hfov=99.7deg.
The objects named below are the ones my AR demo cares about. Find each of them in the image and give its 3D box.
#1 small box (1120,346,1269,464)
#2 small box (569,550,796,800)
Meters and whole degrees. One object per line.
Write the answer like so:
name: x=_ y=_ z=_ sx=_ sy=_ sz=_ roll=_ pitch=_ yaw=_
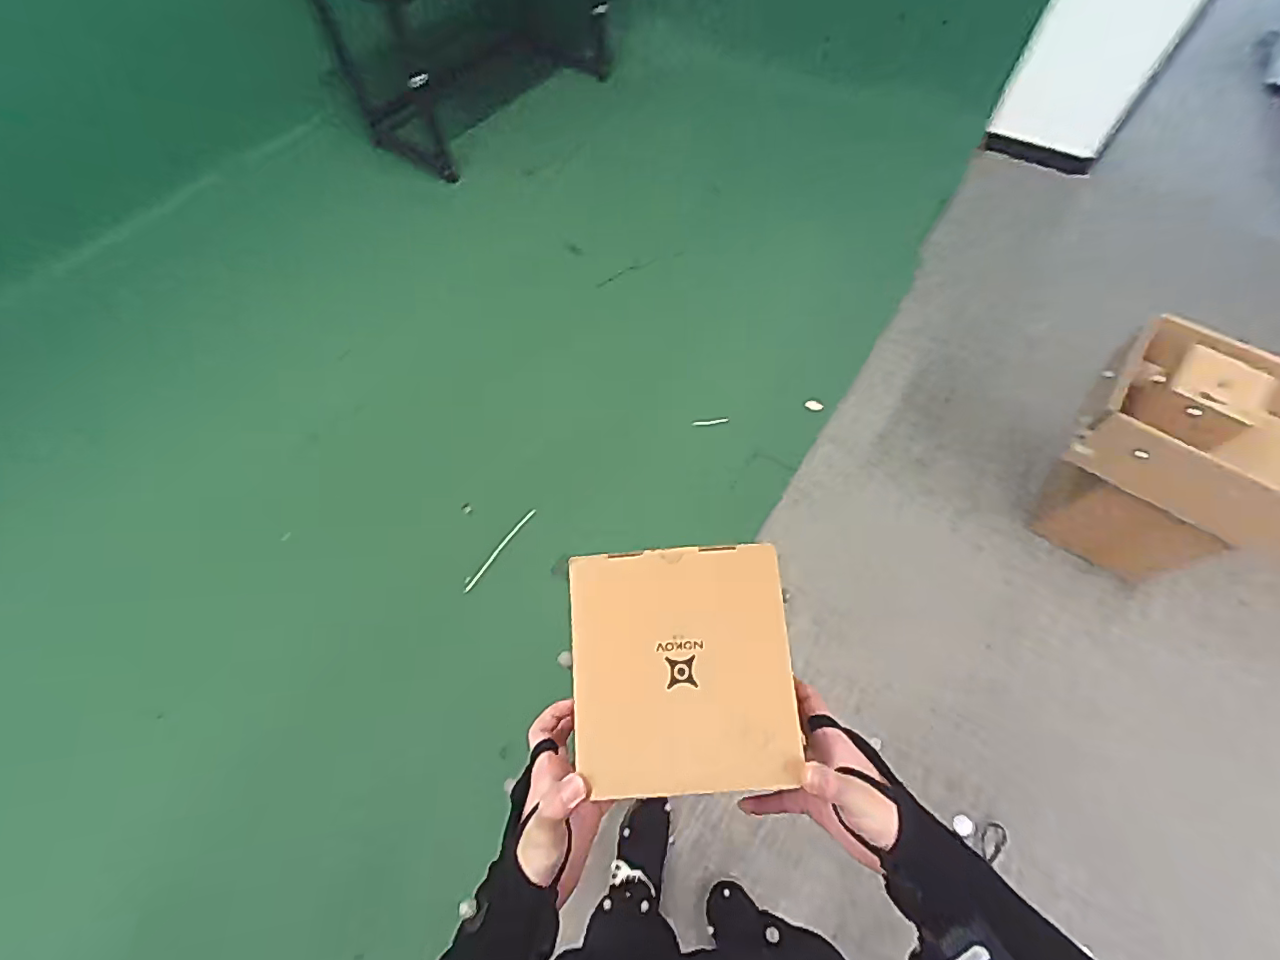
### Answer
small box: x=1.297 y=-0.174 z=1.277 sx=0.168 sy=0.176 sz=0.179 roll=36 pitch=68 yaw=19
small box: x=0.032 y=0.165 z=0.485 sx=0.168 sy=0.176 sz=0.179 roll=-4 pitch=72 yaw=2
